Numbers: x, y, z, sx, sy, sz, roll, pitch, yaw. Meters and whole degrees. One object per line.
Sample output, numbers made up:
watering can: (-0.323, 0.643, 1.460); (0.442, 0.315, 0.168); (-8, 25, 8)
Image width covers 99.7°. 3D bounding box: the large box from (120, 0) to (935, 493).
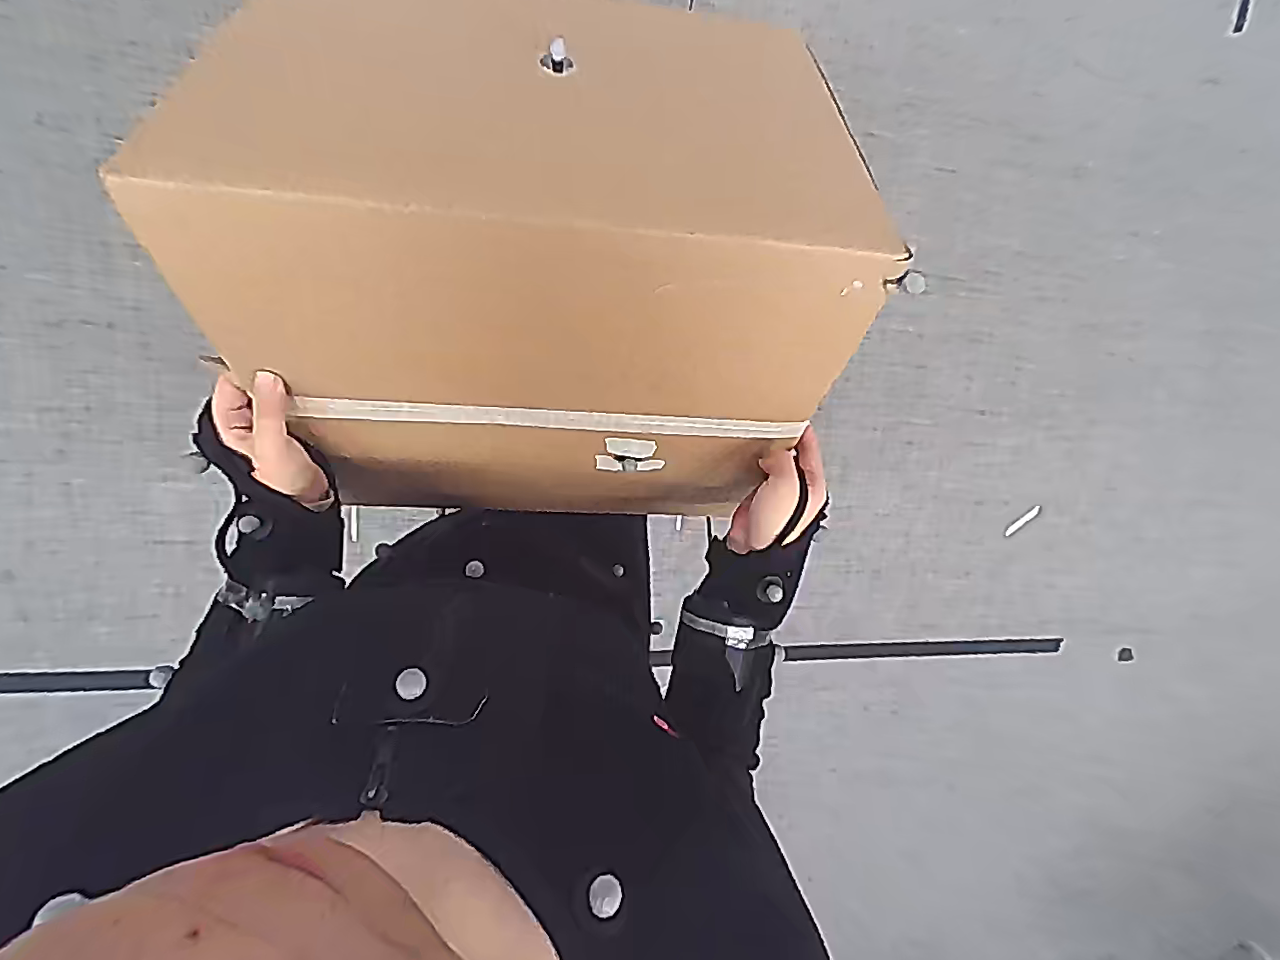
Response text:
large box: (-0.065, -0.195, 0.465); (0.408, 0.320, 0.320); (1, 60, -8)
